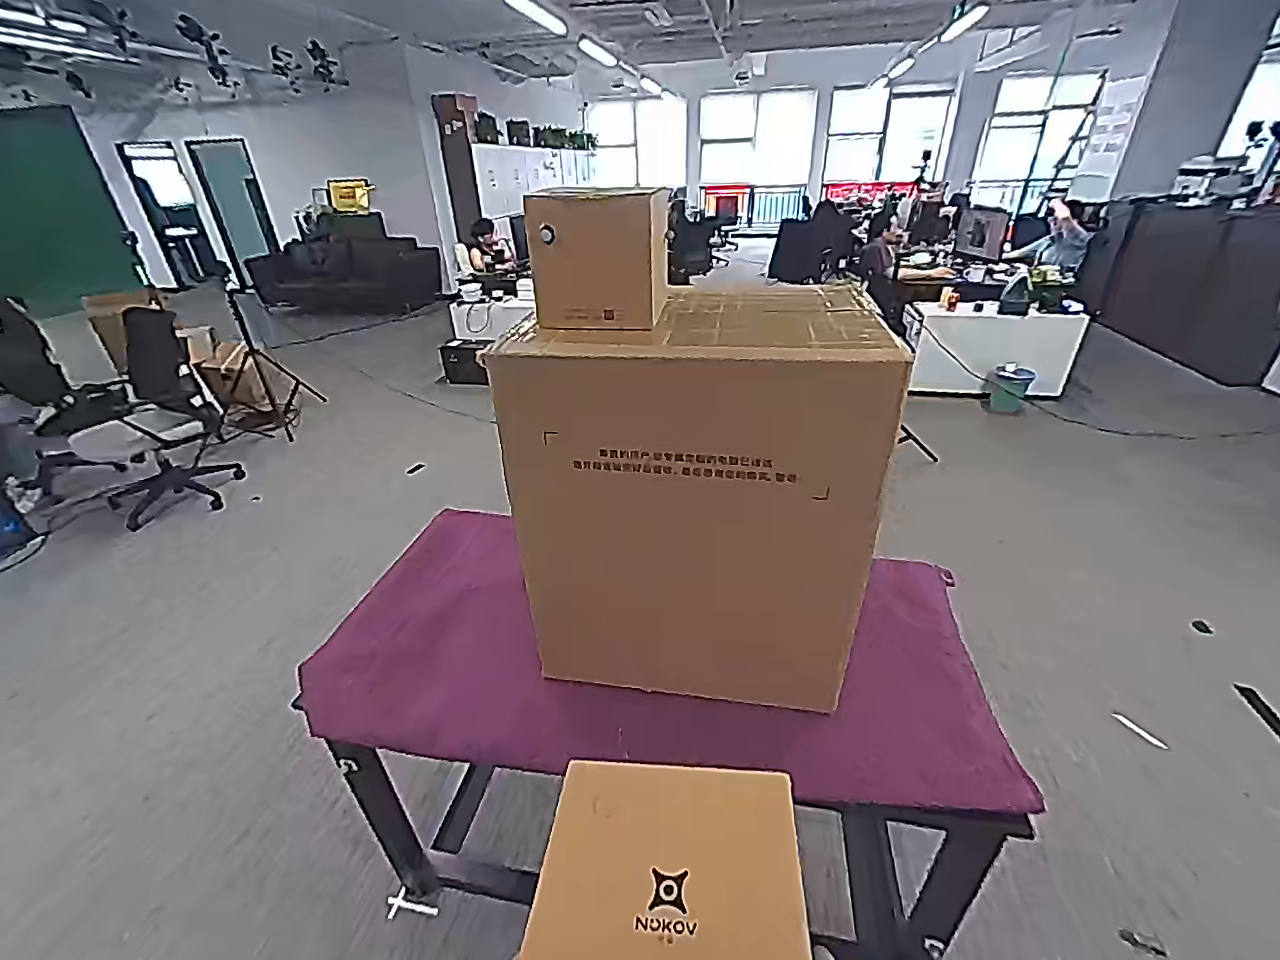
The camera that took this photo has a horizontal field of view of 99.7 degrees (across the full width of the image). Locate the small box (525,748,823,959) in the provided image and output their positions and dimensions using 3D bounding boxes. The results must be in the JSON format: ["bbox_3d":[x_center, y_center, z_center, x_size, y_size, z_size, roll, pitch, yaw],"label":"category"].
[{"bbox_3d":[0.027,0.317,0.366,0.168,0.176,0.179,-1,27,8],"label":"small box"}]
